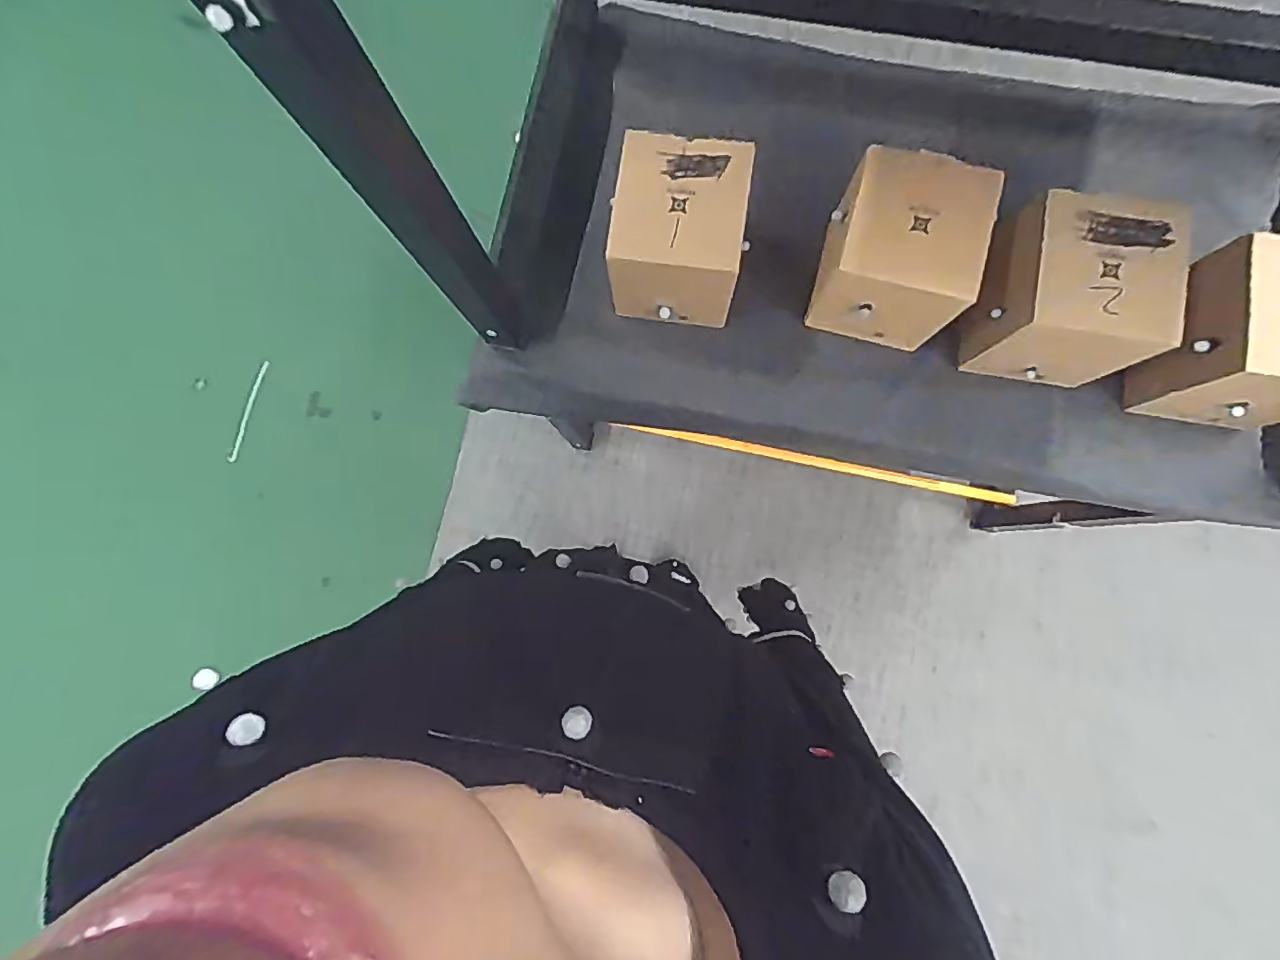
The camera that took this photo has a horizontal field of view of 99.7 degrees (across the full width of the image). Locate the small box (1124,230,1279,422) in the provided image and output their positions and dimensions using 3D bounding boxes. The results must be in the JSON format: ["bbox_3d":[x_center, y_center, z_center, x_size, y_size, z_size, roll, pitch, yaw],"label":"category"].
[{"bbox_3d":[0.774,-0.184,0.693,0.168,0.176,0.179,10,83,4],"label":"small box"}]

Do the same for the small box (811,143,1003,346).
[{"bbox_3d":[0.344,-0.304,0.733,0.168,0.176,0.179,15,83,5],"label":"small box"}]

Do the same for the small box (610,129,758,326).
[{"bbox_3d":[0.057,-0.337,0.748,0.168,0.176,0.179,8,84,4],"label":"small box"}]
